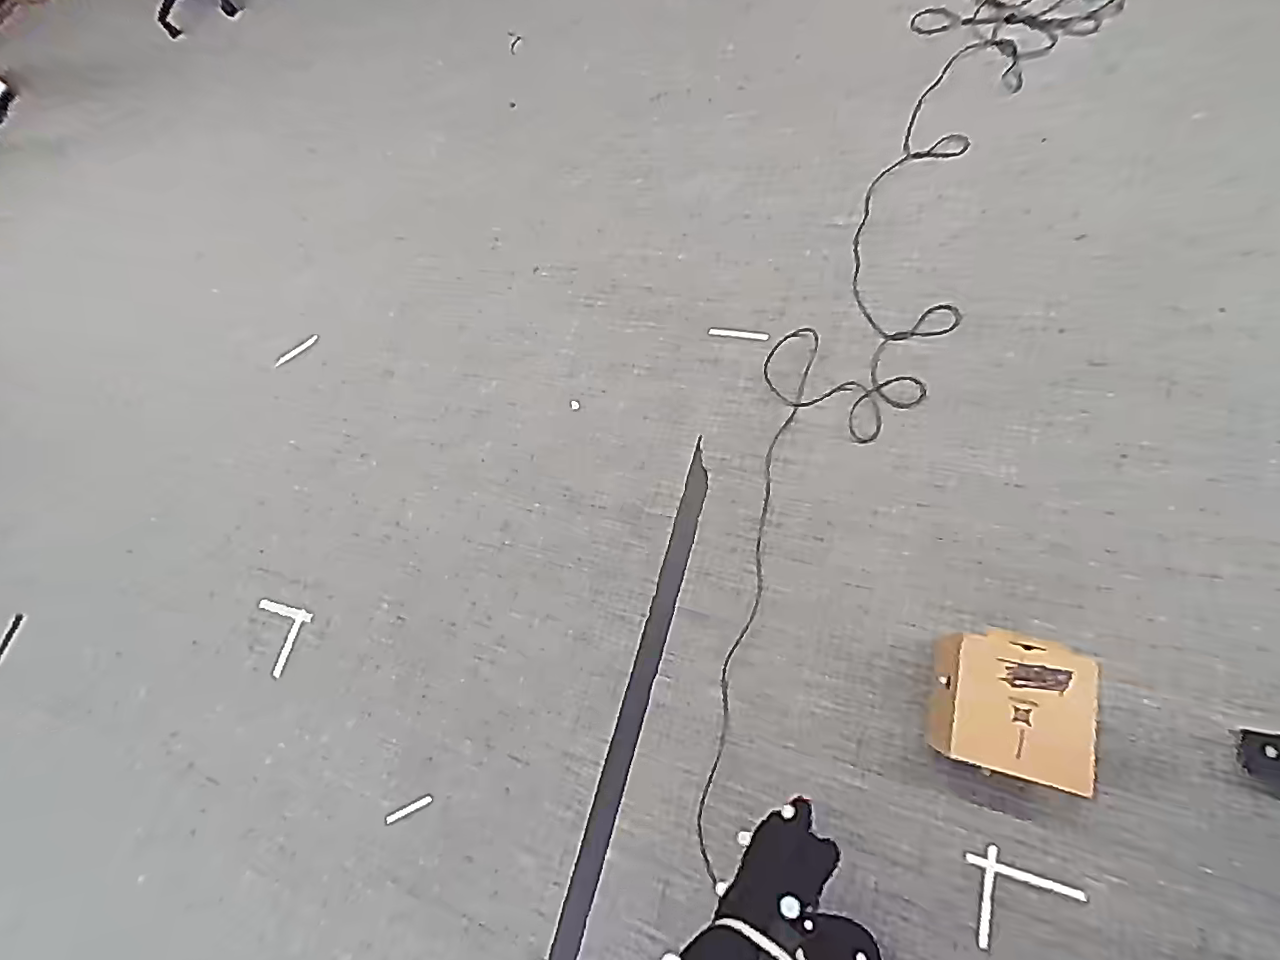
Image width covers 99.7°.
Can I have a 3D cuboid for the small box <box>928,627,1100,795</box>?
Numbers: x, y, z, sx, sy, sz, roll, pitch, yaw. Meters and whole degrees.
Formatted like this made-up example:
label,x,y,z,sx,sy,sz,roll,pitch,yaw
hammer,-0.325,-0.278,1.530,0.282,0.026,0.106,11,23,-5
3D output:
label,x,y,z,sx,sy,sz,roll,pitch,yaw
small box,0.542,0.331,0.804,0.168,0.176,0.179,10,75,20
